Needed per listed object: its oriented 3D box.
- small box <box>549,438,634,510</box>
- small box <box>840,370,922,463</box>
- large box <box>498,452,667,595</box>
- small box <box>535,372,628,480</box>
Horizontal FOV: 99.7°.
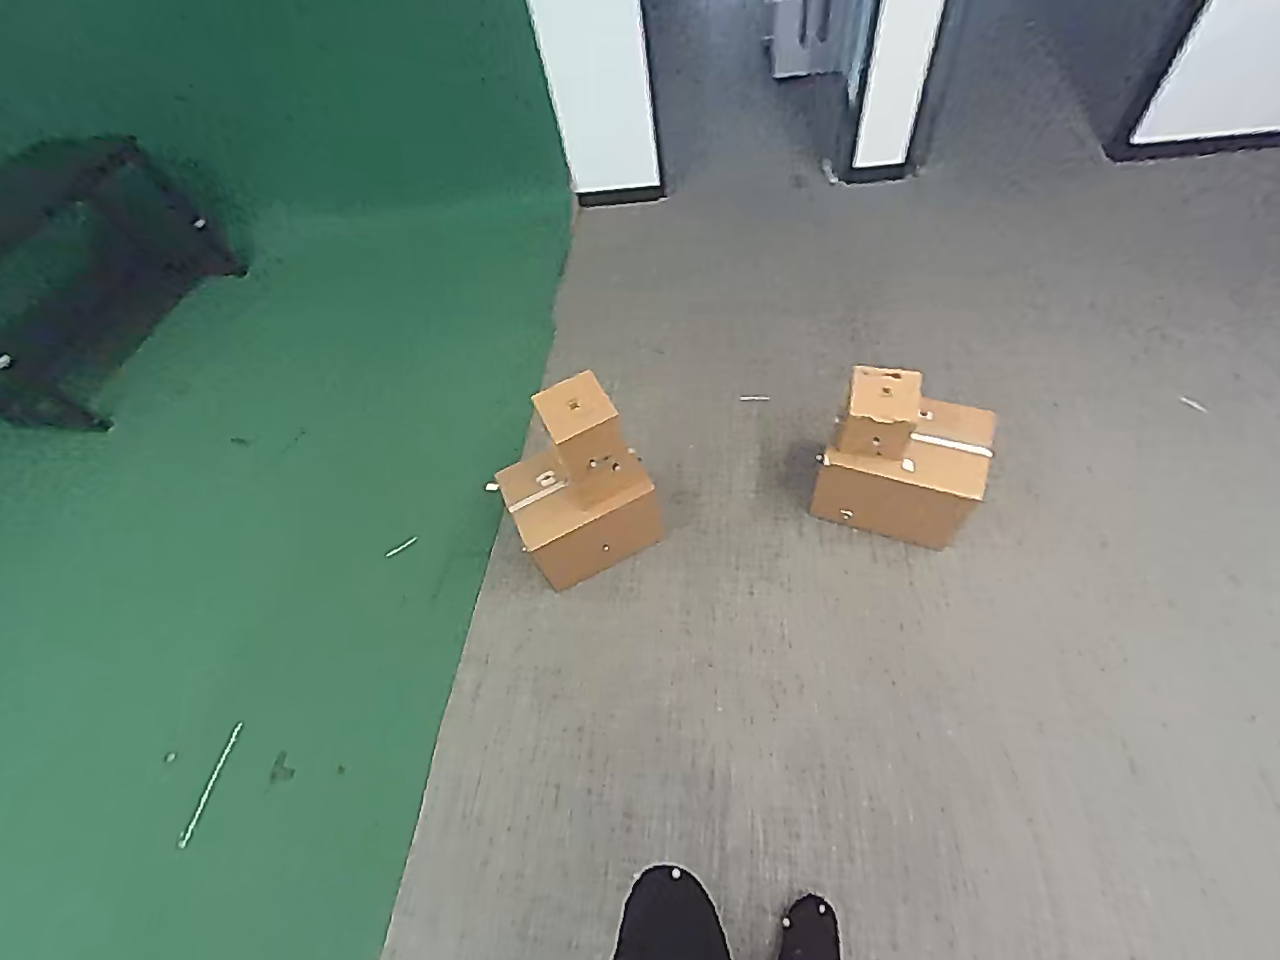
[{"bbox_3d":[-0.127,-0.049,1.509,0.179,0.176,0.168,-27,56,-9],"label":"small box"},{"bbox_3d":[0.645,-0.168,1.458,0.168,0.176,0.179,10,60,15],"label":"small box"},{"bbox_3d":[-0.170,0.098,1.718,0.408,0.320,0.320,-27,55,-8],"label":"large box"},{"bbox_3d":[-0.144,-0.133,1.371,0.168,0.176,0.179,-26,57,-7],"label":"small box"}]
